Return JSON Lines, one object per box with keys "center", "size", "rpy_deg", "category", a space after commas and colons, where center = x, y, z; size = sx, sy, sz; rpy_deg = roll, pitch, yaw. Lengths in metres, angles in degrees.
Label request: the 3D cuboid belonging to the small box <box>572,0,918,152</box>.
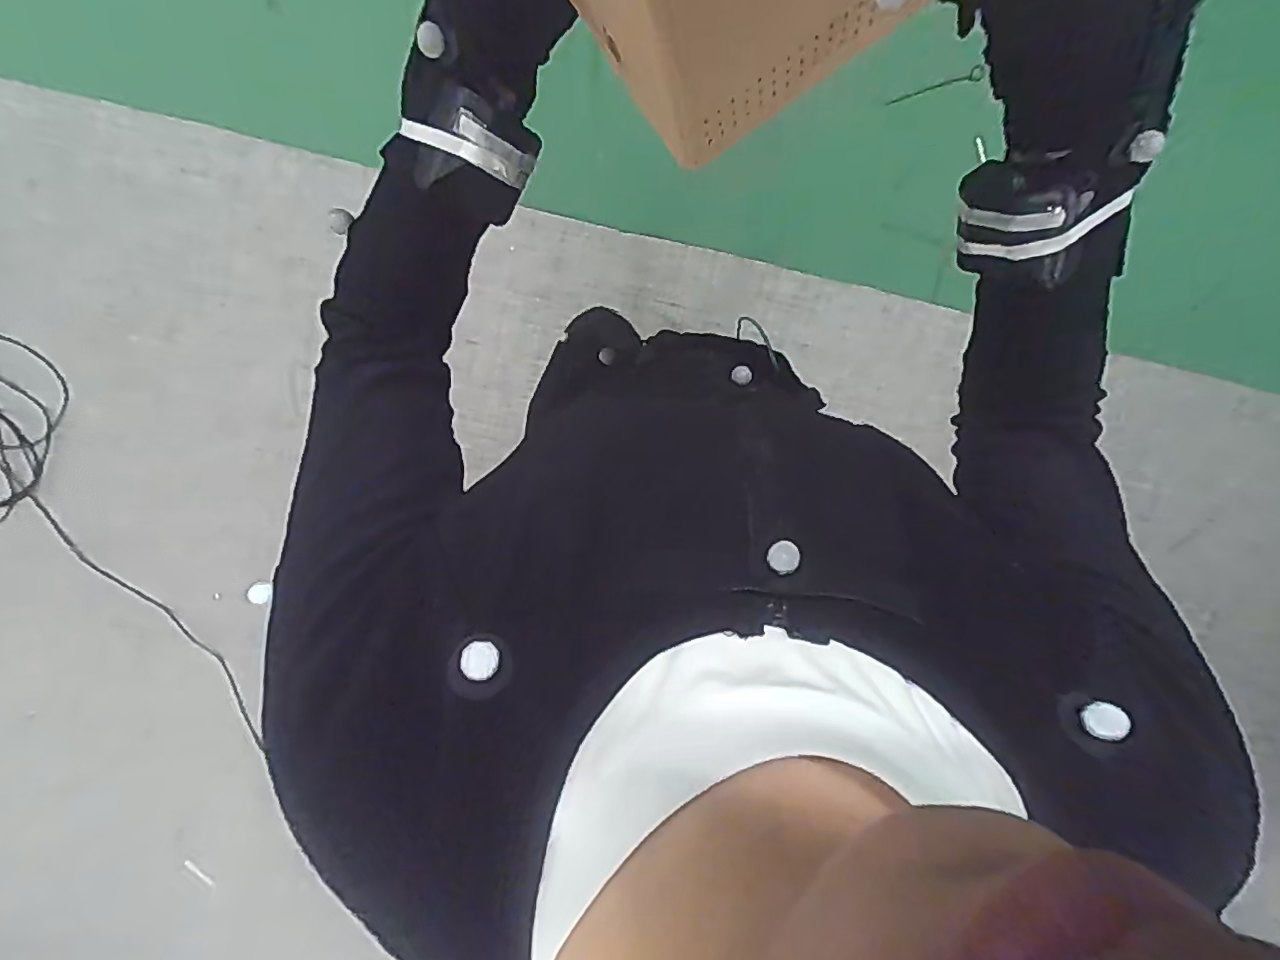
{"center": [0.035, -0.256, 0.162], "size": [0.179, 0.176, 0.168], "rpy_deg": [-32, 80, 10], "category": "small box"}
